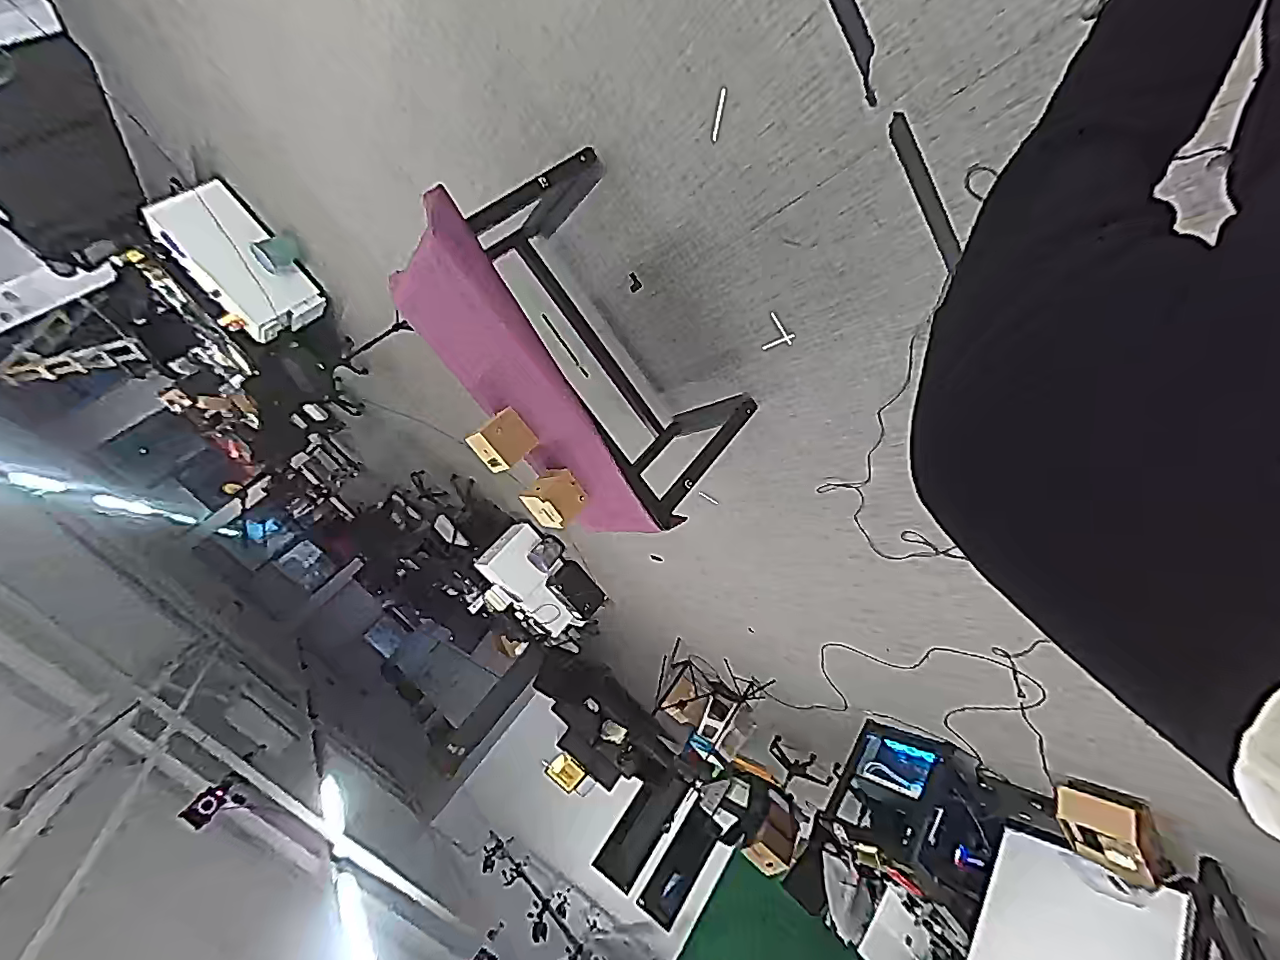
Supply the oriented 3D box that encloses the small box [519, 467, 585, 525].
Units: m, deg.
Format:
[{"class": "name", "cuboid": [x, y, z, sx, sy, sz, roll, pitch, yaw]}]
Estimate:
[{"class": "small box", "cuboid": [-0.343, 0.062, 2.154, 0.179, 0.176, 0.168, 0, 131, 52]}]
